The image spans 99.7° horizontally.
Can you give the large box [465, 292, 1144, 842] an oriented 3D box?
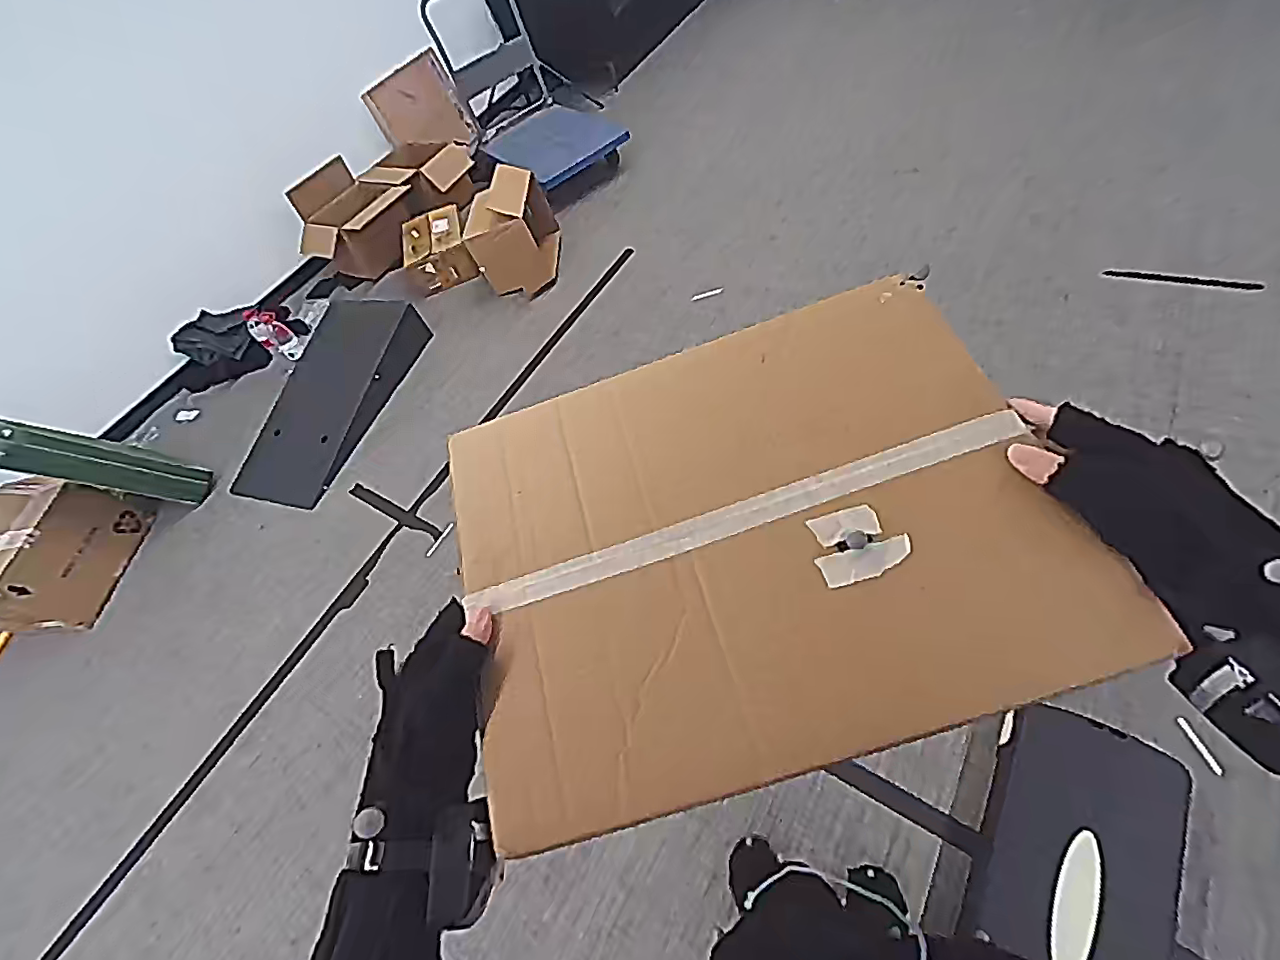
[{"bbox_3d":[0.100,0.098,0.525,0.408,0.320,0.320,-19,62,3],"label":"large box"}]
